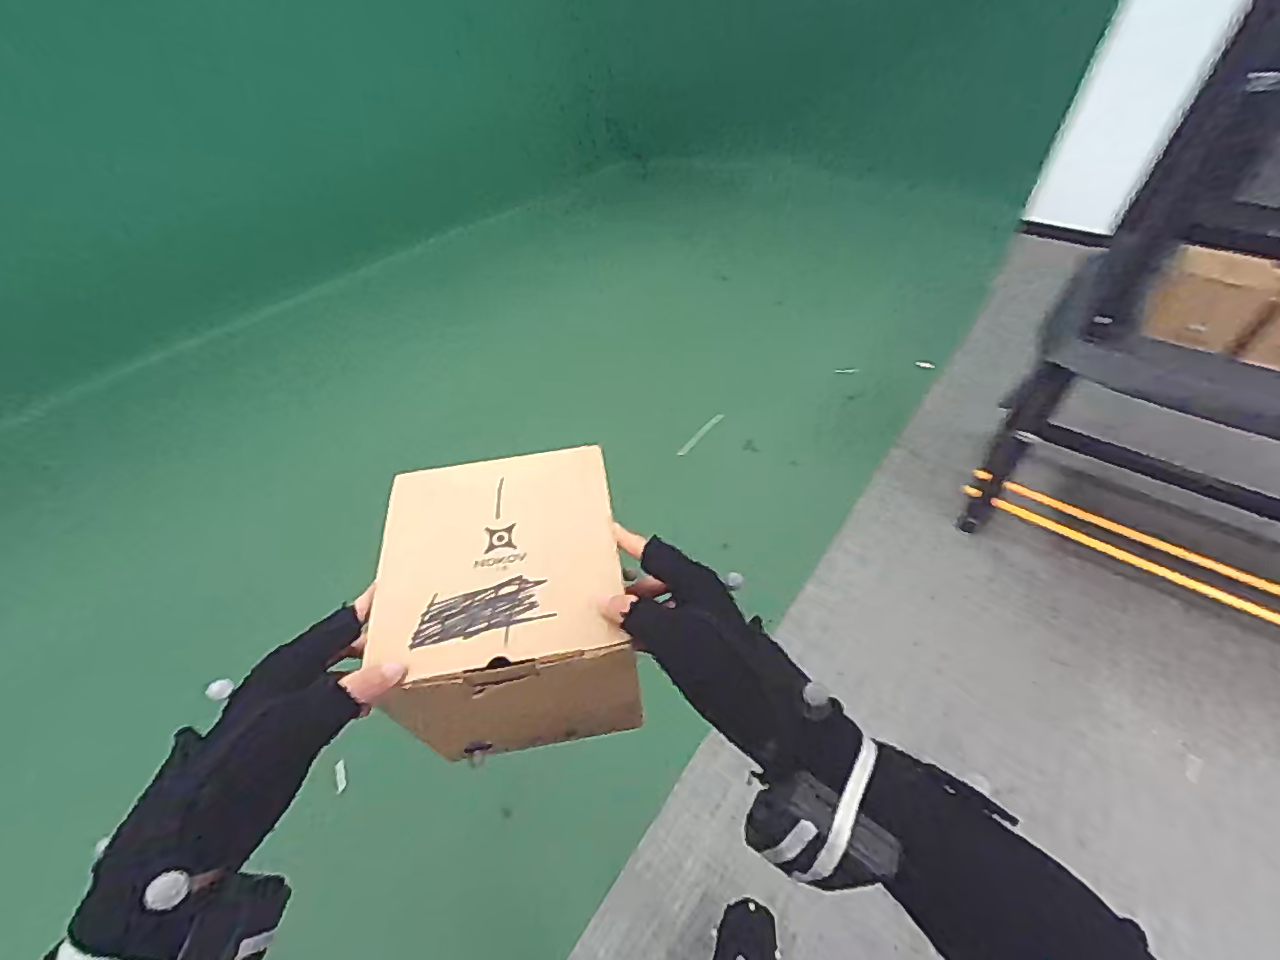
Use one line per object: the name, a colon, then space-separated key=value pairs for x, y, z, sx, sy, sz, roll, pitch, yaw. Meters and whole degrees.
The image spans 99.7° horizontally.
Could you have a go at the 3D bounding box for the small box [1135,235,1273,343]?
small box: x=1.338 y=-0.458 z=1.297 sx=0.168 sy=0.176 sz=0.179 roll=25 pitch=52 yaw=23

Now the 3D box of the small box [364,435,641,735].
small box: x=-0.093 y=0.091 z=0.441 sx=0.168 sy=0.176 sz=0.179 roll=-8 pitch=49 yaw=-3
